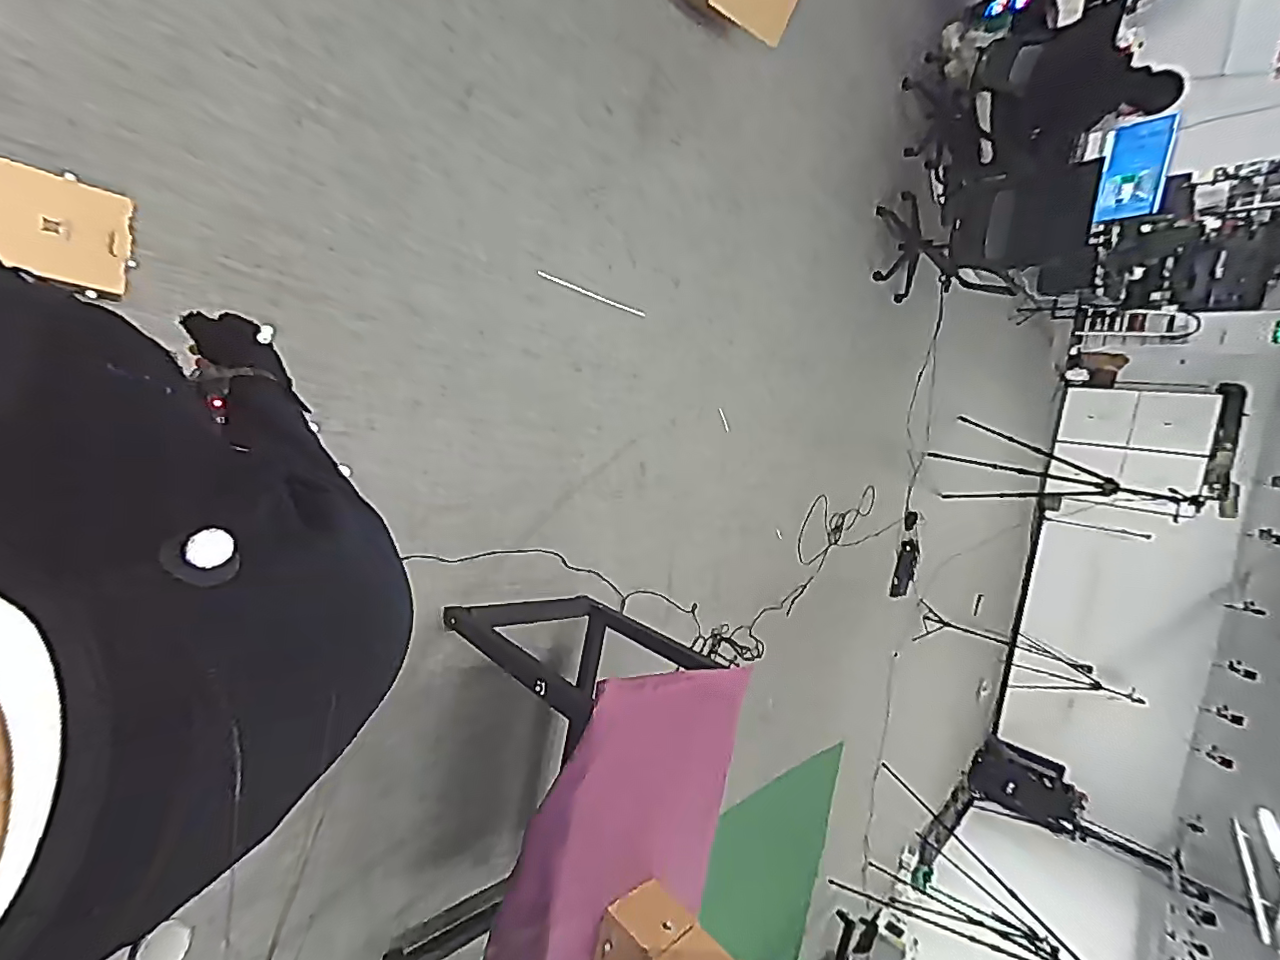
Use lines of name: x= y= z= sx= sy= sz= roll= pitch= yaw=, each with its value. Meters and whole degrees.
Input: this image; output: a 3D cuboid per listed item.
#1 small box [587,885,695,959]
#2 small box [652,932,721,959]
small box: x=0.000 y=1.118 z=1.285 sx=0.179 sy=0.176 sz=0.168 roll=14 pitch=89 yaw=-46
small box: x=0.107 y=1.137 z=1.162 sx=0.179 sy=0.176 sz=0.168 roll=12 pitch=90 yaw=-47
